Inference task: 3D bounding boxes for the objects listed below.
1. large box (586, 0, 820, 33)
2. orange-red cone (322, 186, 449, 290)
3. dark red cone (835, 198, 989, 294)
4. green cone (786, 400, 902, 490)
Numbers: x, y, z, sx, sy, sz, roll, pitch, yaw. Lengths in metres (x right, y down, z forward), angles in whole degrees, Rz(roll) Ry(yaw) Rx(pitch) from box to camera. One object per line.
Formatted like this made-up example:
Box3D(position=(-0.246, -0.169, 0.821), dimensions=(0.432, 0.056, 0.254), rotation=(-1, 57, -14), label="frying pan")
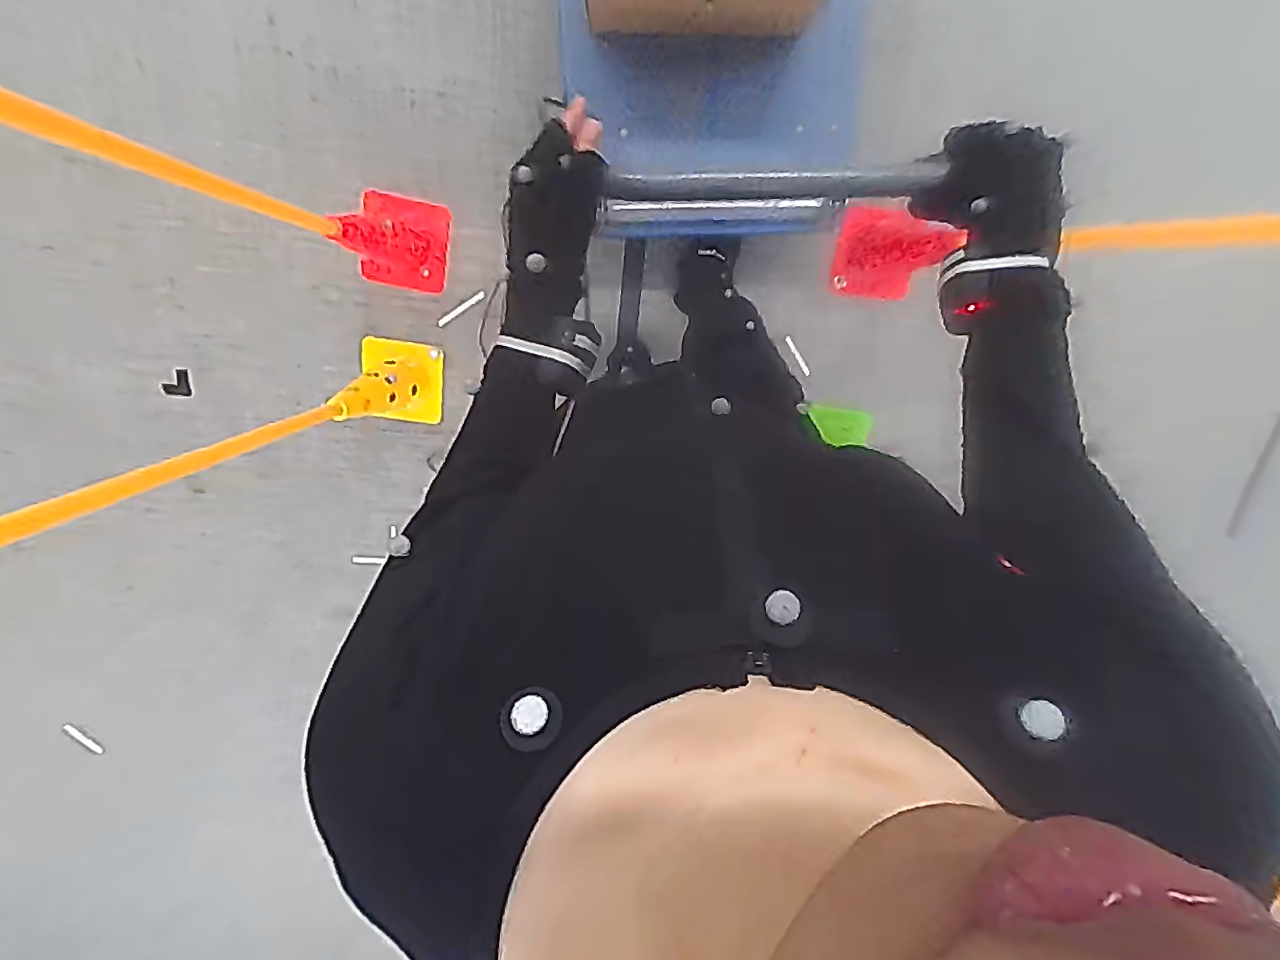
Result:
Box3D(position=(0.109, -0.936, 0.833), dimensions=(0.408, 0.320, 0.320), rotation=(-1, 110, -1), label="large box")
Box3D(position=(-0.549, -0.512, 1.110), dimensions=(0.198, 0.360, 0.199), rotation=(11, 107, -7), label="orange-red cone")
Box3D(position=(0.585, -0.502, 1.137), dimensions=(0.201, 0.394, 0.202), rotation=(4, 110, -6), label="dark red cone")
Box3D(position=(0.519, -0.054, 1.310), dimensions=(0.202, 0.368, 0.200), rotation=(8, 109, -6), label="green cone")
